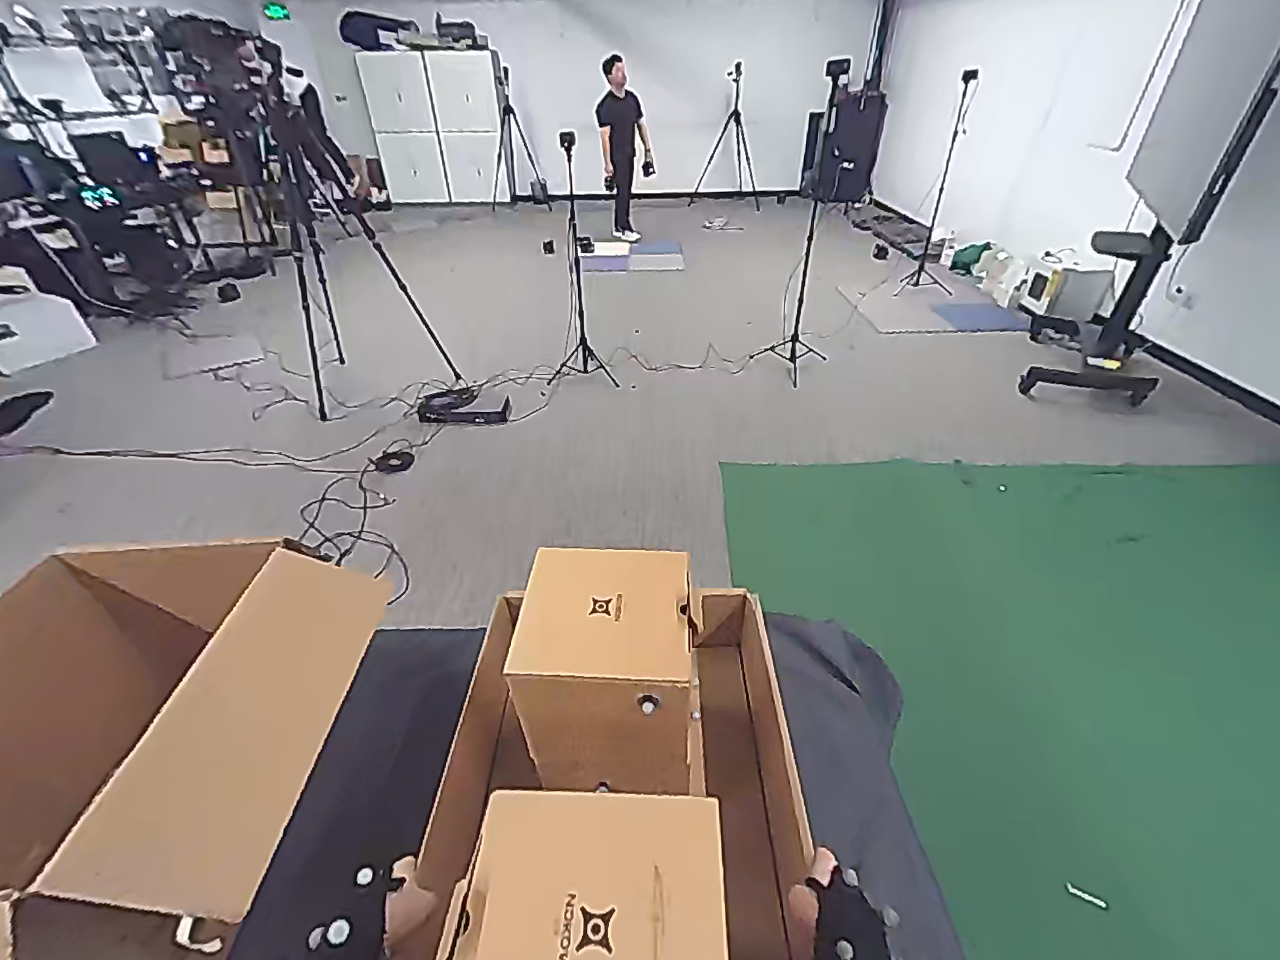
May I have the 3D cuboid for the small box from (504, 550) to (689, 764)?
[{"bbox_3d":[-0.035,0.197,0.607,0.179,0.176,0.168,1,38,3],"label":"small box"}]
